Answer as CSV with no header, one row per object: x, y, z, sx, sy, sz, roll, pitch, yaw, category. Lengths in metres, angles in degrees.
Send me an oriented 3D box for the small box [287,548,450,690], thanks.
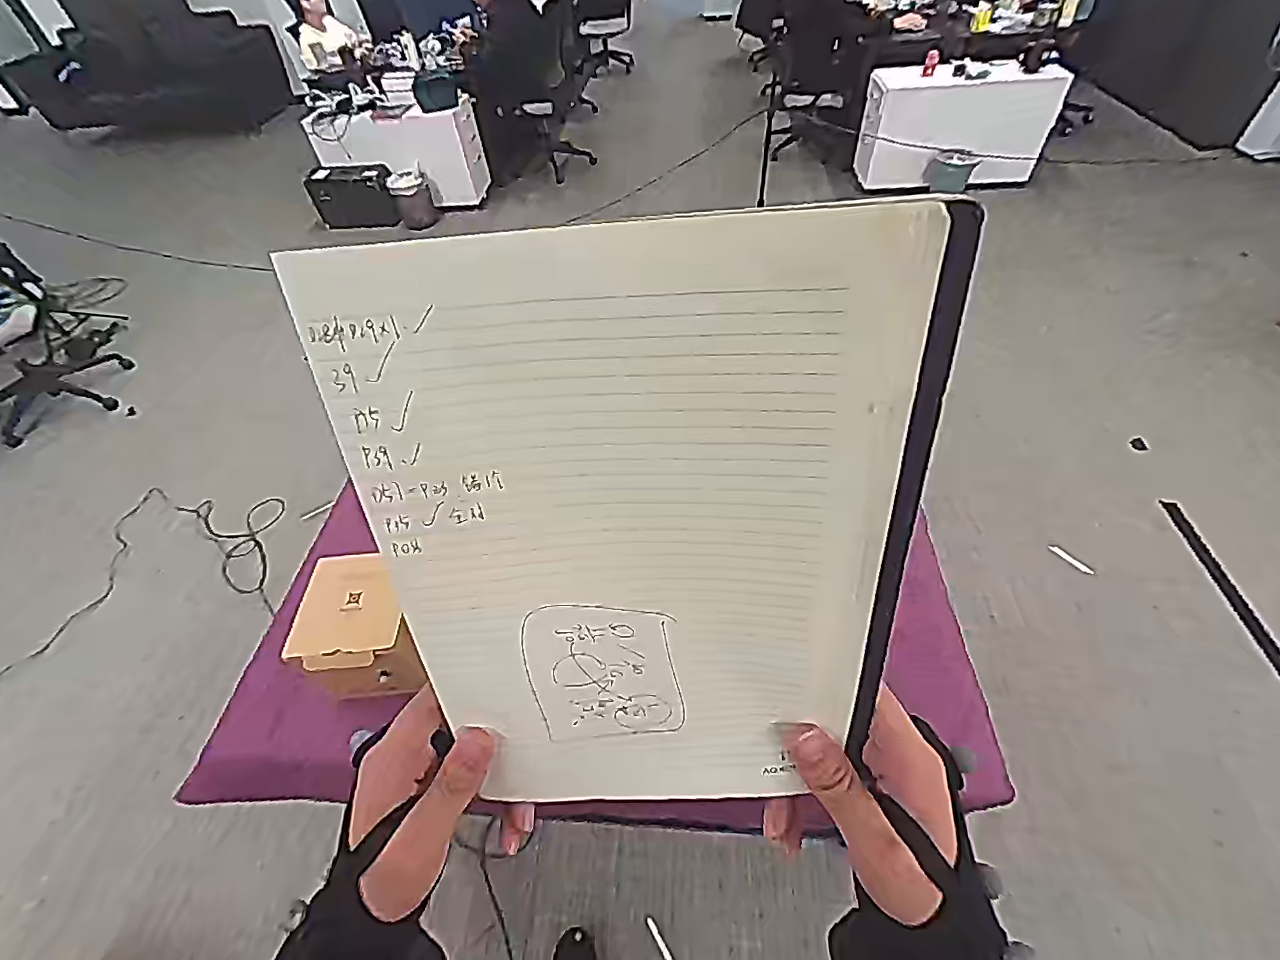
-0.429,0.235,0.893,0.168,0.176,0.179,-4,49,0,small box
